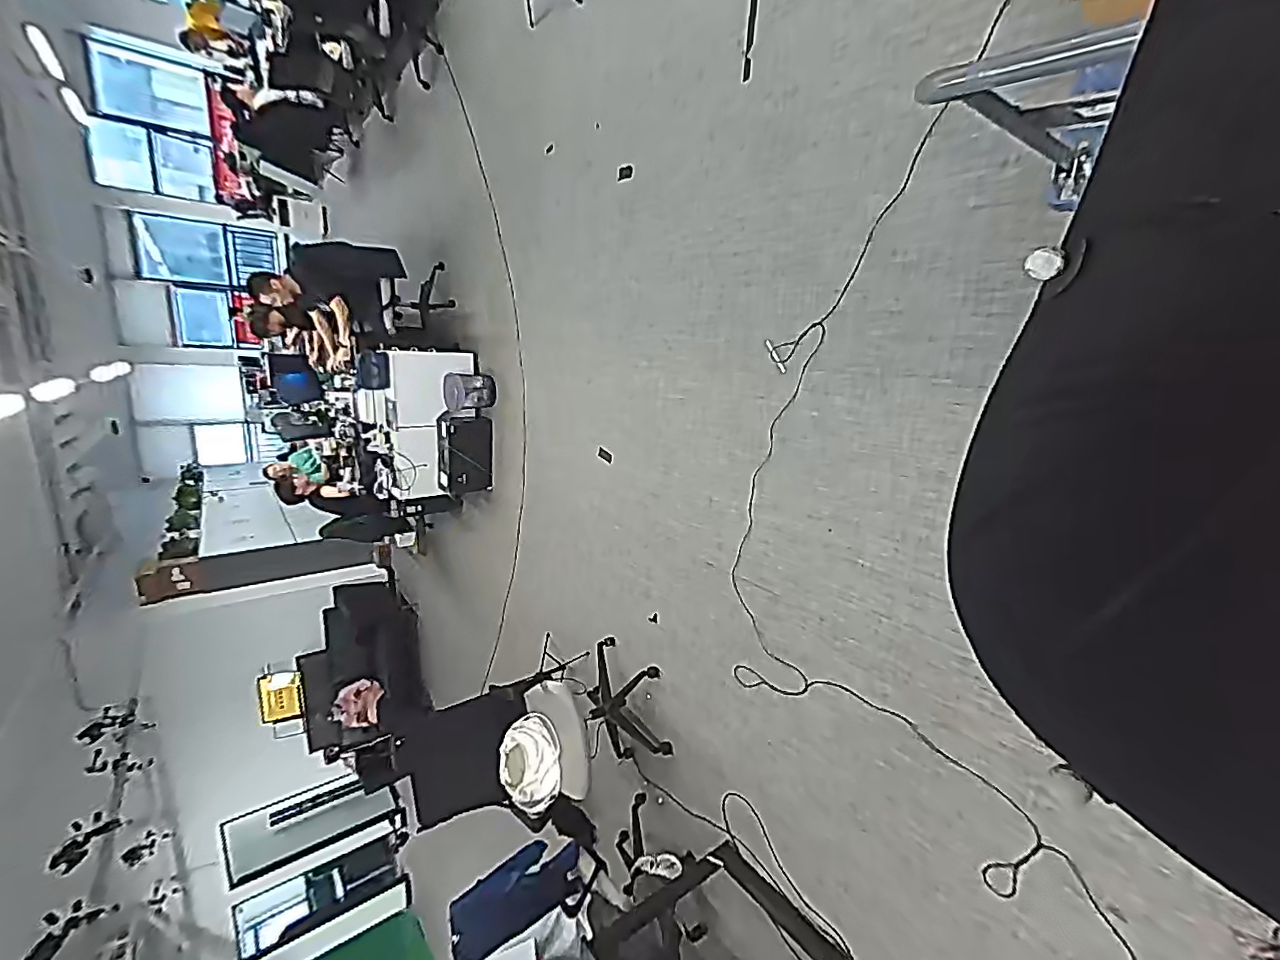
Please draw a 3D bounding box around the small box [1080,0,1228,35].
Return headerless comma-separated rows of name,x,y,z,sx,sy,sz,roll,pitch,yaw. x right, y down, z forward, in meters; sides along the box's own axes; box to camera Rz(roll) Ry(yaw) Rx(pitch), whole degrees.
small box,0.842,-0.853,0.862,0.179,0.176,0.168,28,117,44
